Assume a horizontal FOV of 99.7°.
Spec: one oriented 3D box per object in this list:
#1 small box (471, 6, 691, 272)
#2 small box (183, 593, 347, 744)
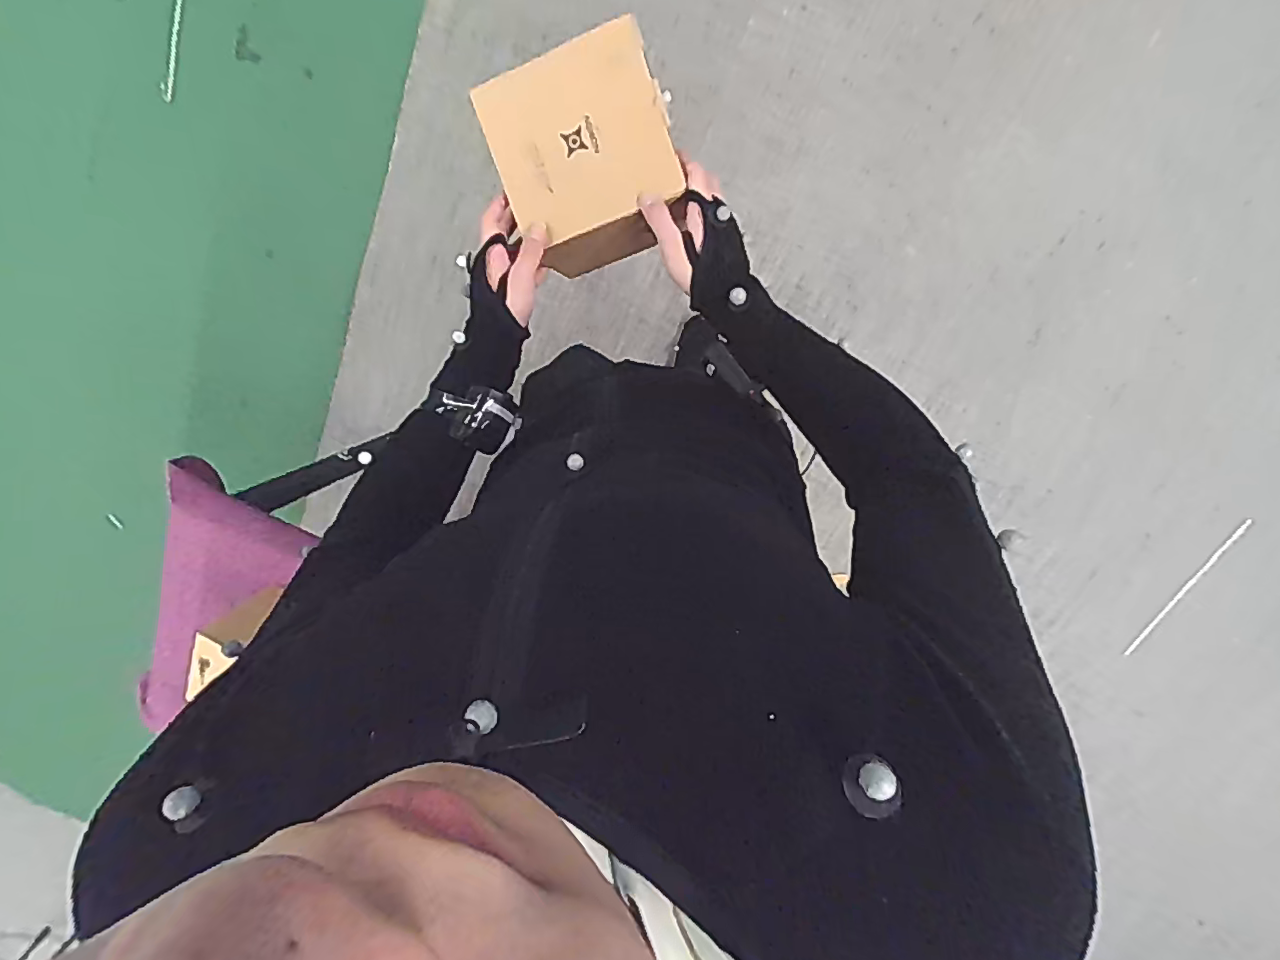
[{"bbox_3d":[-0.048,-0.346,0.591,0.179,0.176,0.168,-16,99,11],"label":"small box"},{"bbox_3d":[-0.684,0.338,1.001,0.179,0.176,0.168,26,110,-1],"label":"small box"}]
